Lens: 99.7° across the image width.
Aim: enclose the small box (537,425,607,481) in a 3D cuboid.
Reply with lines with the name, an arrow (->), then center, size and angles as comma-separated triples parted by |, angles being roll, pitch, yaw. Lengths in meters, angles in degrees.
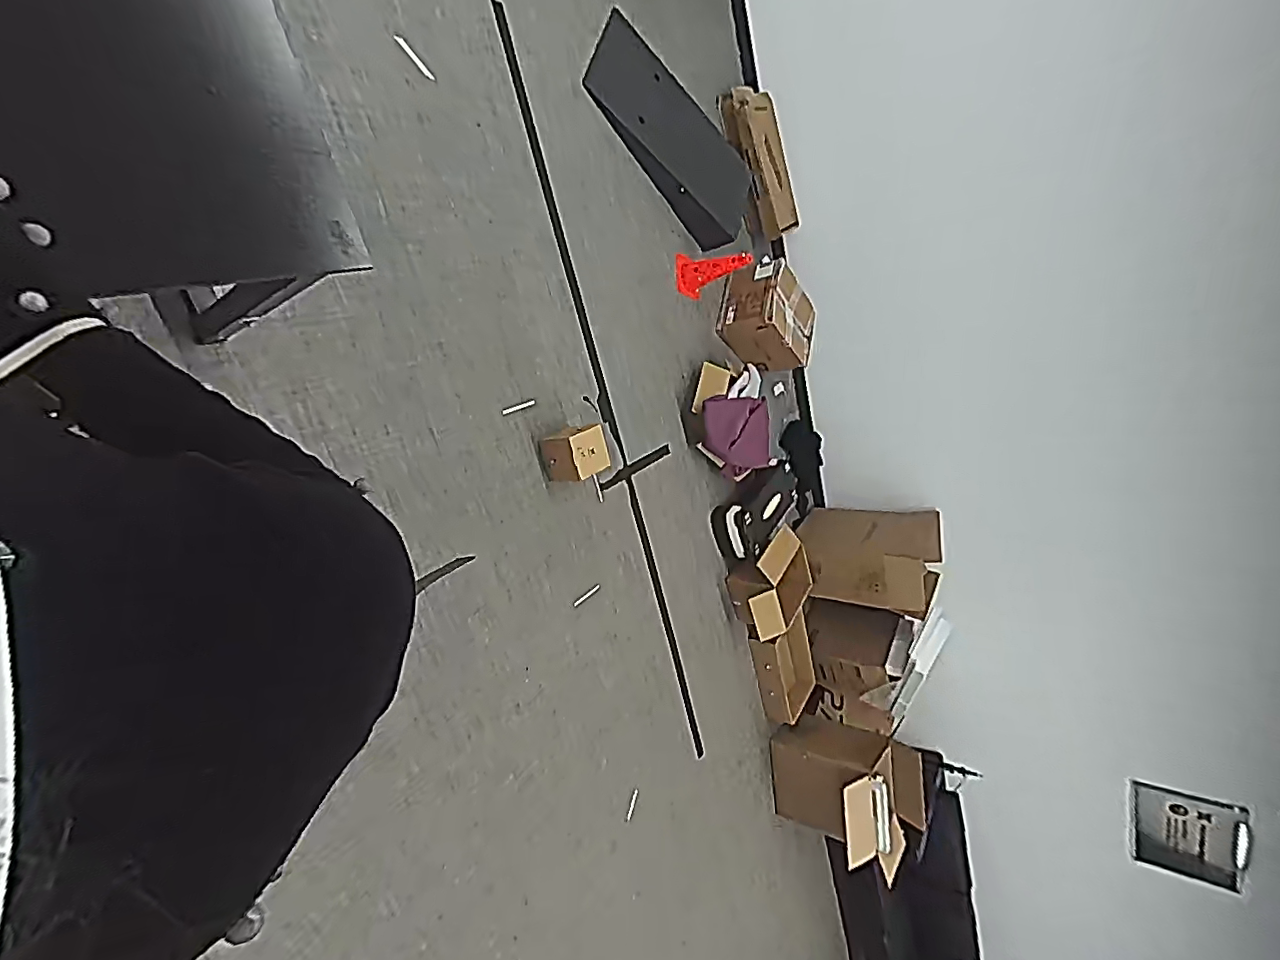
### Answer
small box -> -0.254, -0.103, 2.015 | 0.179, 0.176, 0.168 | -31, 112, -46
